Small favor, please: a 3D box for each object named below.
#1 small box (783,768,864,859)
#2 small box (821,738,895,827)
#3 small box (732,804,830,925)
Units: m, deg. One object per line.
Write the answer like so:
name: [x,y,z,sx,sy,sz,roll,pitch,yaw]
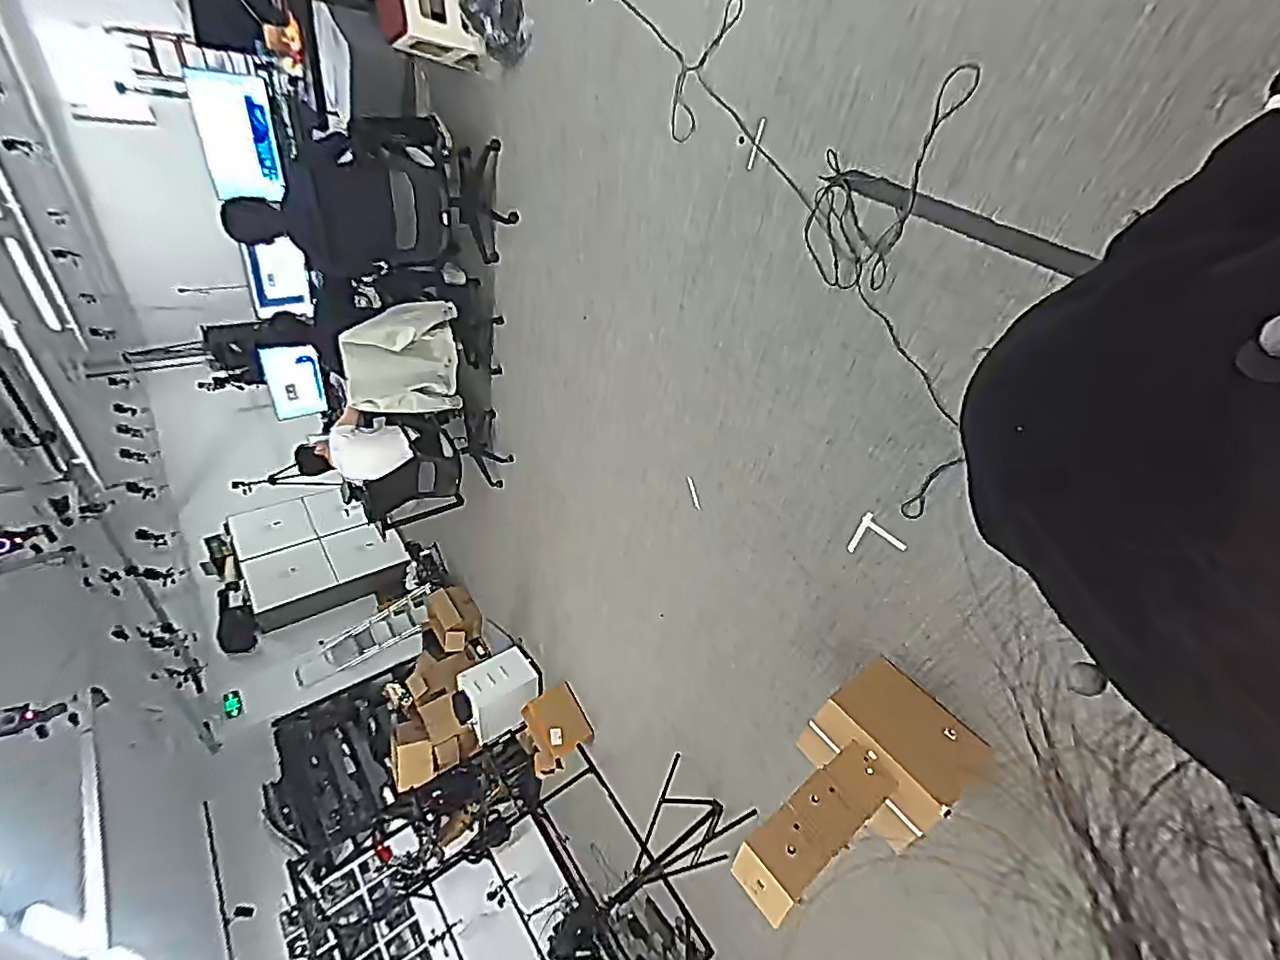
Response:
small box: [0.499,0.956,1.523,0.168,0.176,0.179,42,137,36]
small box: [0.627,0.918,1.616,0.168,0.176,0.179,42,136,34]
small box: [0.373,1.007,1.429,0.168,0.176,0.179,39,134,39]
